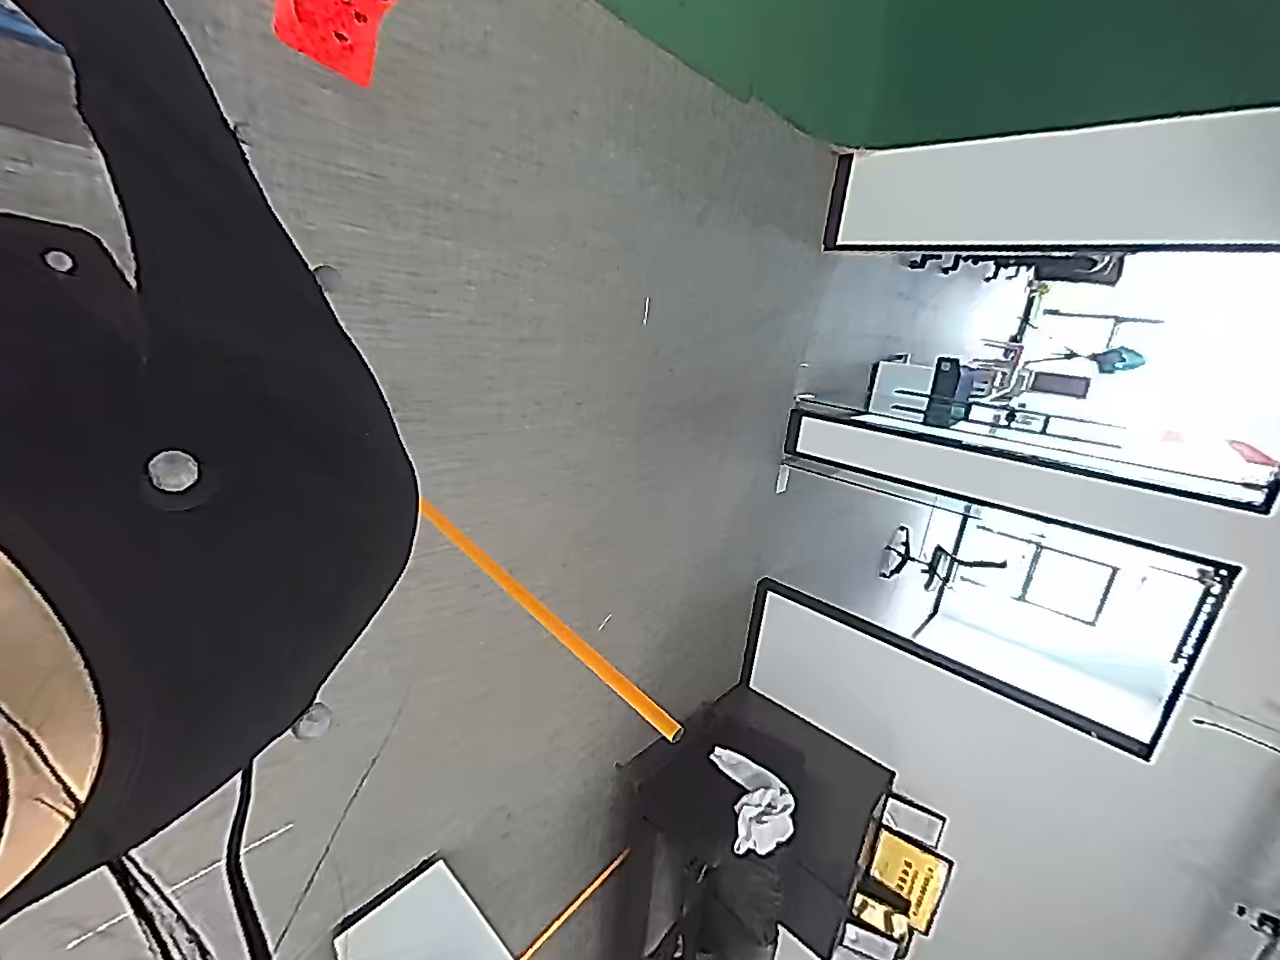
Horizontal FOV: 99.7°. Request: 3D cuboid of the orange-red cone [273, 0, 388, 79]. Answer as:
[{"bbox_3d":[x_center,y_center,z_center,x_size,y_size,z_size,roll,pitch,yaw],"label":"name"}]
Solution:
[{"bbox_3d":[-0.555,-0.979,1.075,0.198,0.360,0.199,4,103,-50],"label":"orange-red cone"}]
